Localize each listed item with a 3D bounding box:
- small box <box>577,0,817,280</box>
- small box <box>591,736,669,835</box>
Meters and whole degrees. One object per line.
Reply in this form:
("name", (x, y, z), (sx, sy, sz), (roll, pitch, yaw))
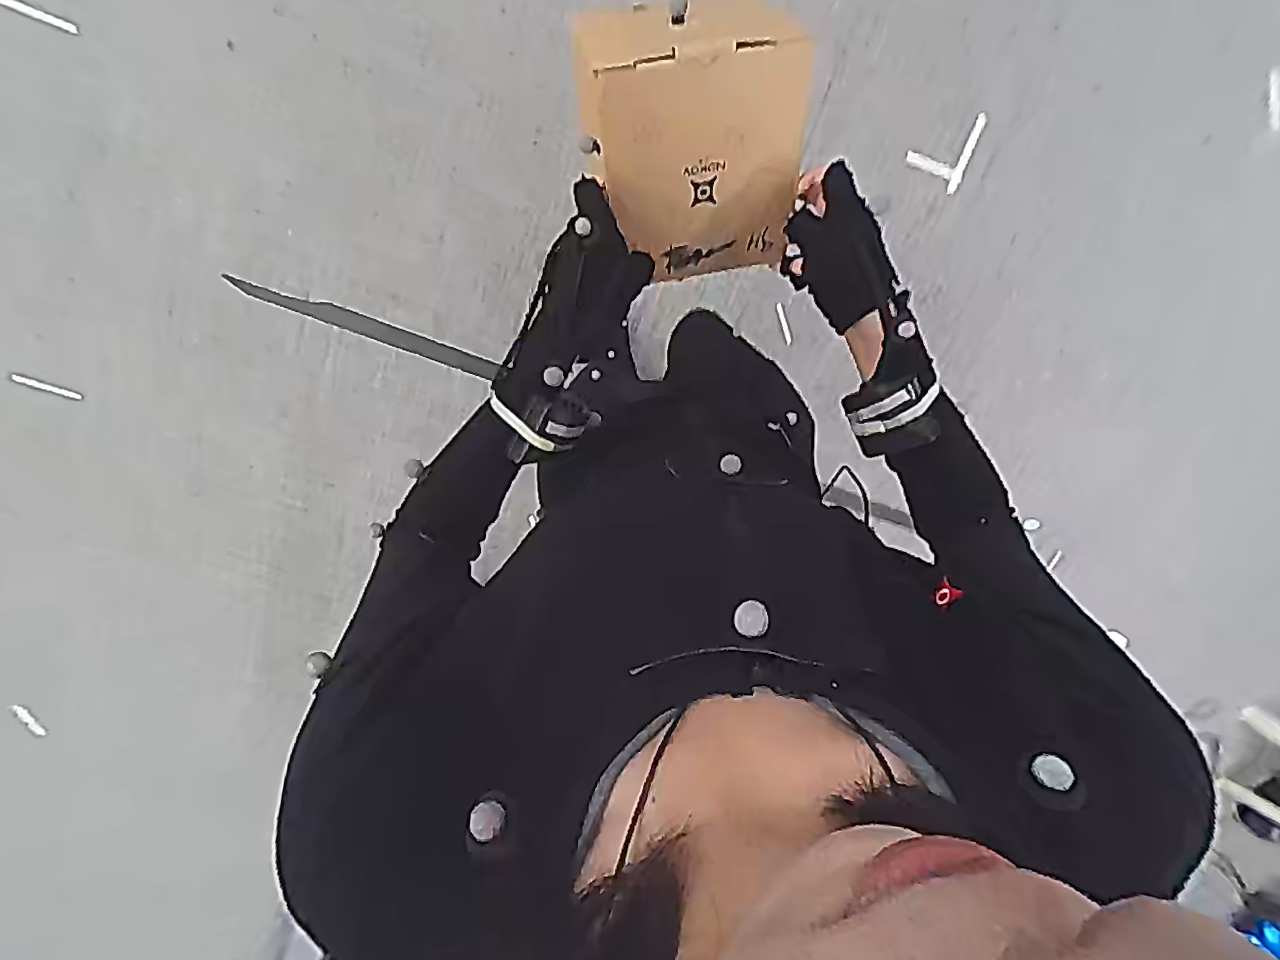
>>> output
("small box", (0.040, -0.316, 0.499), (0.168, 0.176, 0.179), (-10, 141, -3))
("small box", (-0.033, 0.876, 1.563), (0.179, 0.176, 0.168), (18, 107, -11))
